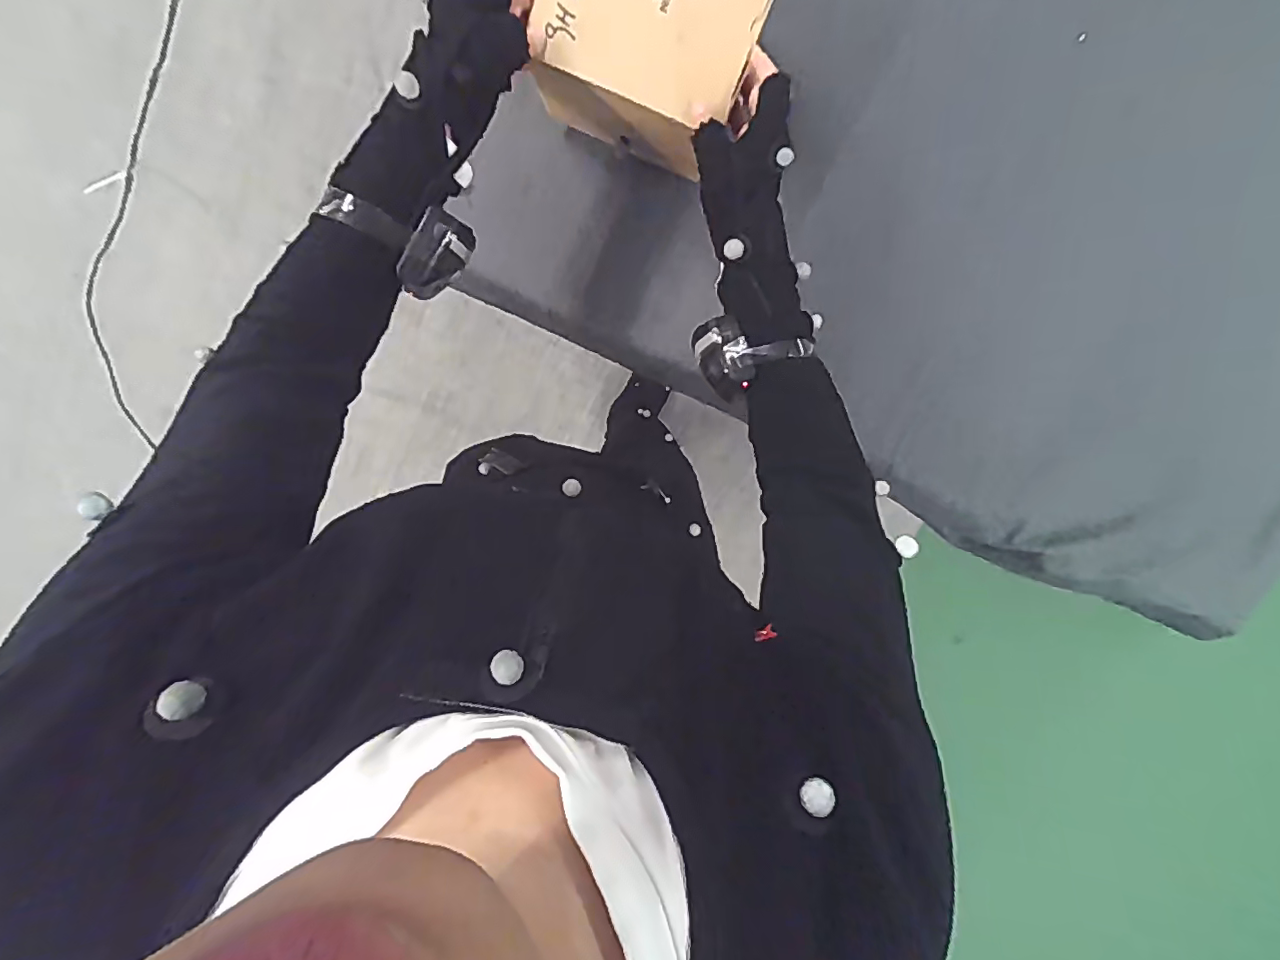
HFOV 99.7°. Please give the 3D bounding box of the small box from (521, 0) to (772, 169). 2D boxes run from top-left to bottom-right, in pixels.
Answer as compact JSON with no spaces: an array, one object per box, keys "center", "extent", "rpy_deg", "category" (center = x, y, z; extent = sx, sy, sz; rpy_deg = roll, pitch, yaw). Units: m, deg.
[{"center":[0.012,-0.413,0.497],"extent":[0.179,0.176,0.168],"rpy_deg":[20,107,-8],"category":"small box"}]
